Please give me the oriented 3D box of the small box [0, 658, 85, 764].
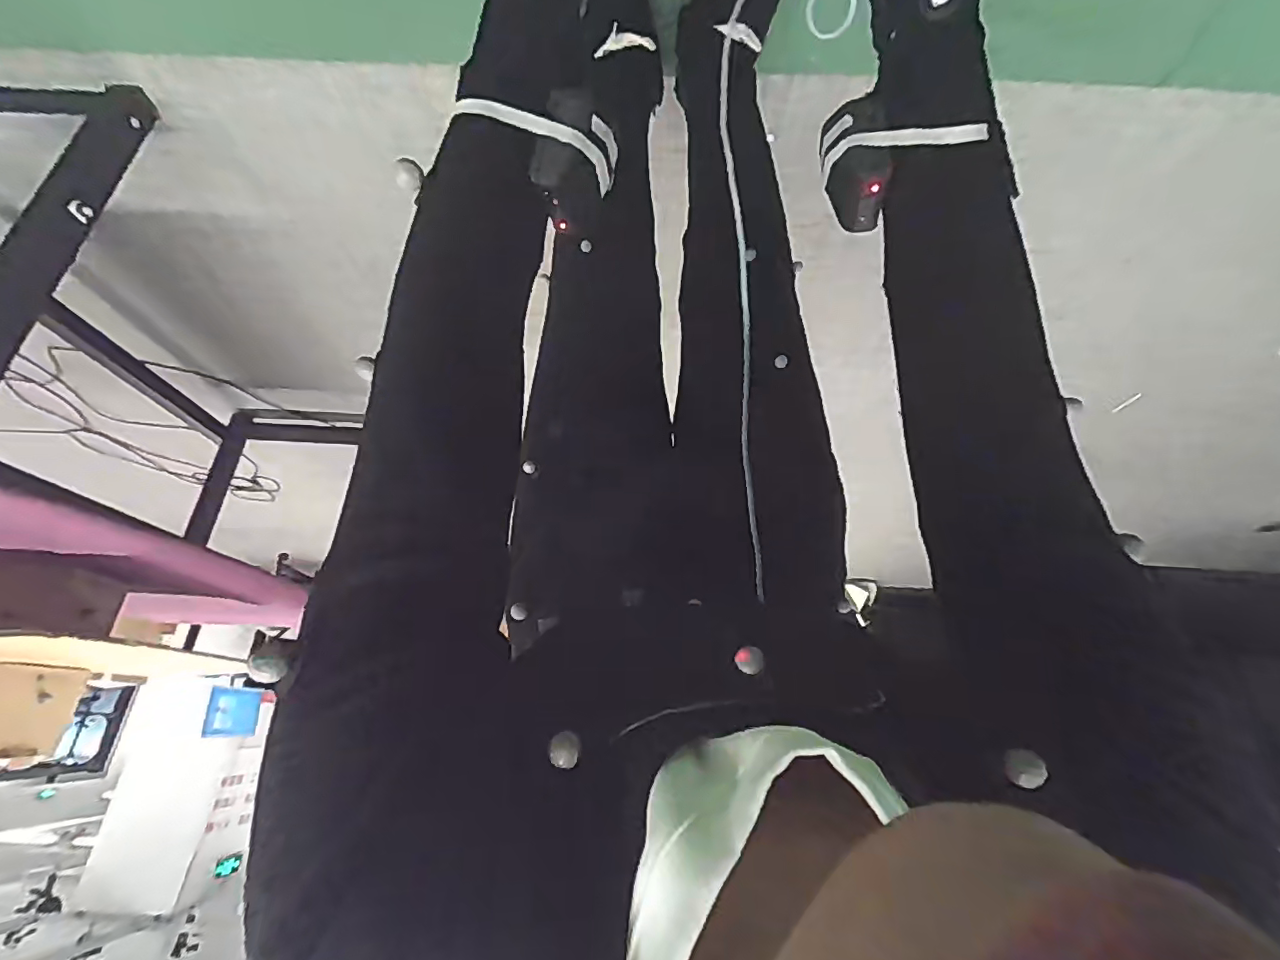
[{"bbox_3d":[-1.209,0.423,0.997,0.179,0.176,0.168,5,156,-1],"label":"small box"}]
